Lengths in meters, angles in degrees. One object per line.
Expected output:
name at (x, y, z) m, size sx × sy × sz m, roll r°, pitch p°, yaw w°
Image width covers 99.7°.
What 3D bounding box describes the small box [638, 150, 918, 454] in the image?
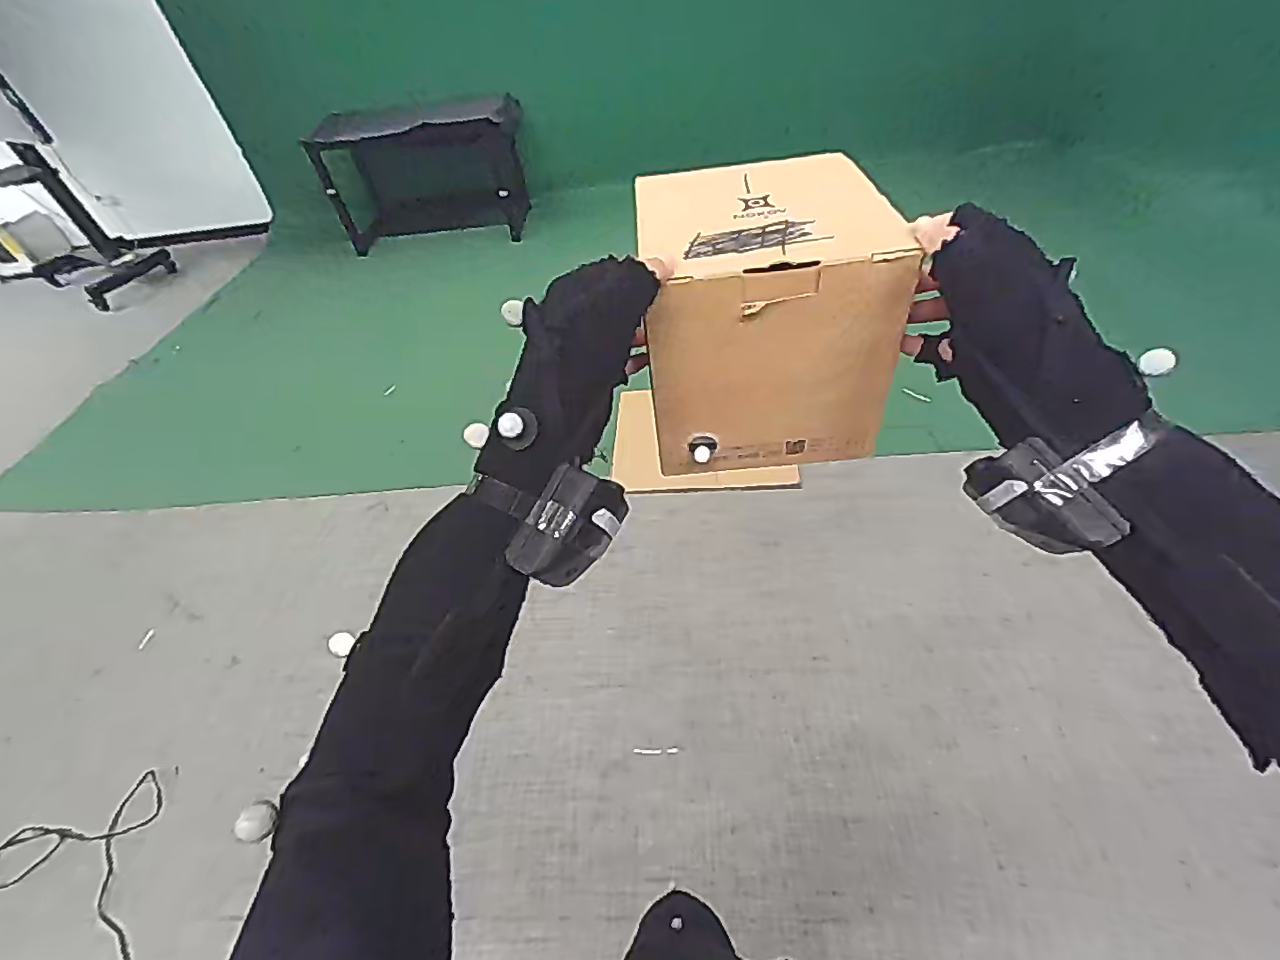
small box at (0.089, -0.133, 0.429) m, size 0.168 × 0.176 × 0.179 m, roll -5°, pitch 46°, yaw 4°
